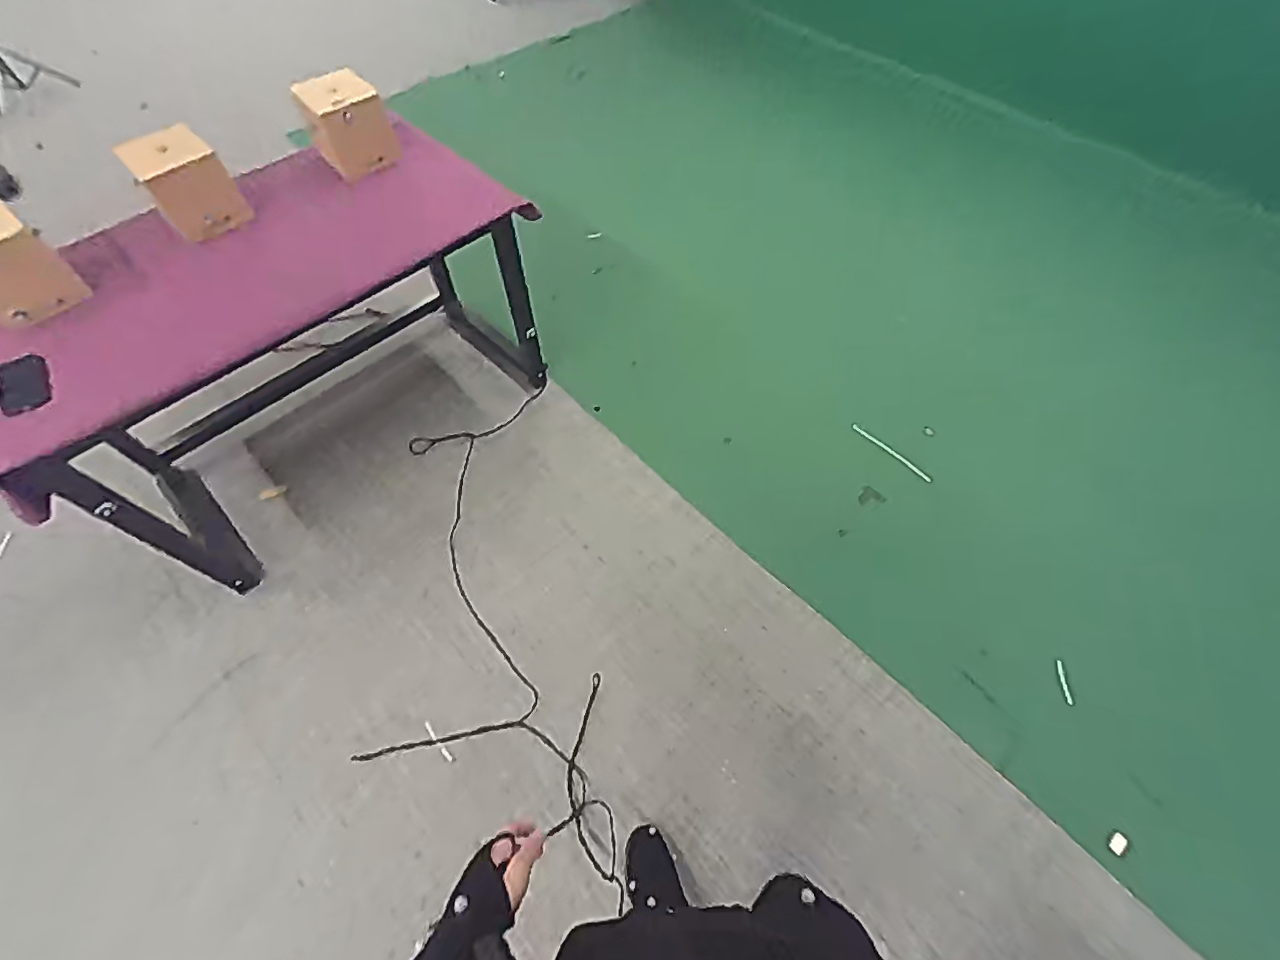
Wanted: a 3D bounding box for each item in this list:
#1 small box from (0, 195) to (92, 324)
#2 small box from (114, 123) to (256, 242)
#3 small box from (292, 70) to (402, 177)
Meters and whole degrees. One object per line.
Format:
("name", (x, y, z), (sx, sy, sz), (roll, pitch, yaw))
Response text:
("small box", (-1.334, -0.458, 1.141), (0.179, 0.176, 0.168), (37, 65, 20))
("small box", (-1.078, -0.709, 1.295), (0.179, 0.176, 0.168), (41, 68, 20))
("small box", (-0.770, -0.942, 1.435), (0.168, 0.176, 0.179), (-38, 66, -19))
